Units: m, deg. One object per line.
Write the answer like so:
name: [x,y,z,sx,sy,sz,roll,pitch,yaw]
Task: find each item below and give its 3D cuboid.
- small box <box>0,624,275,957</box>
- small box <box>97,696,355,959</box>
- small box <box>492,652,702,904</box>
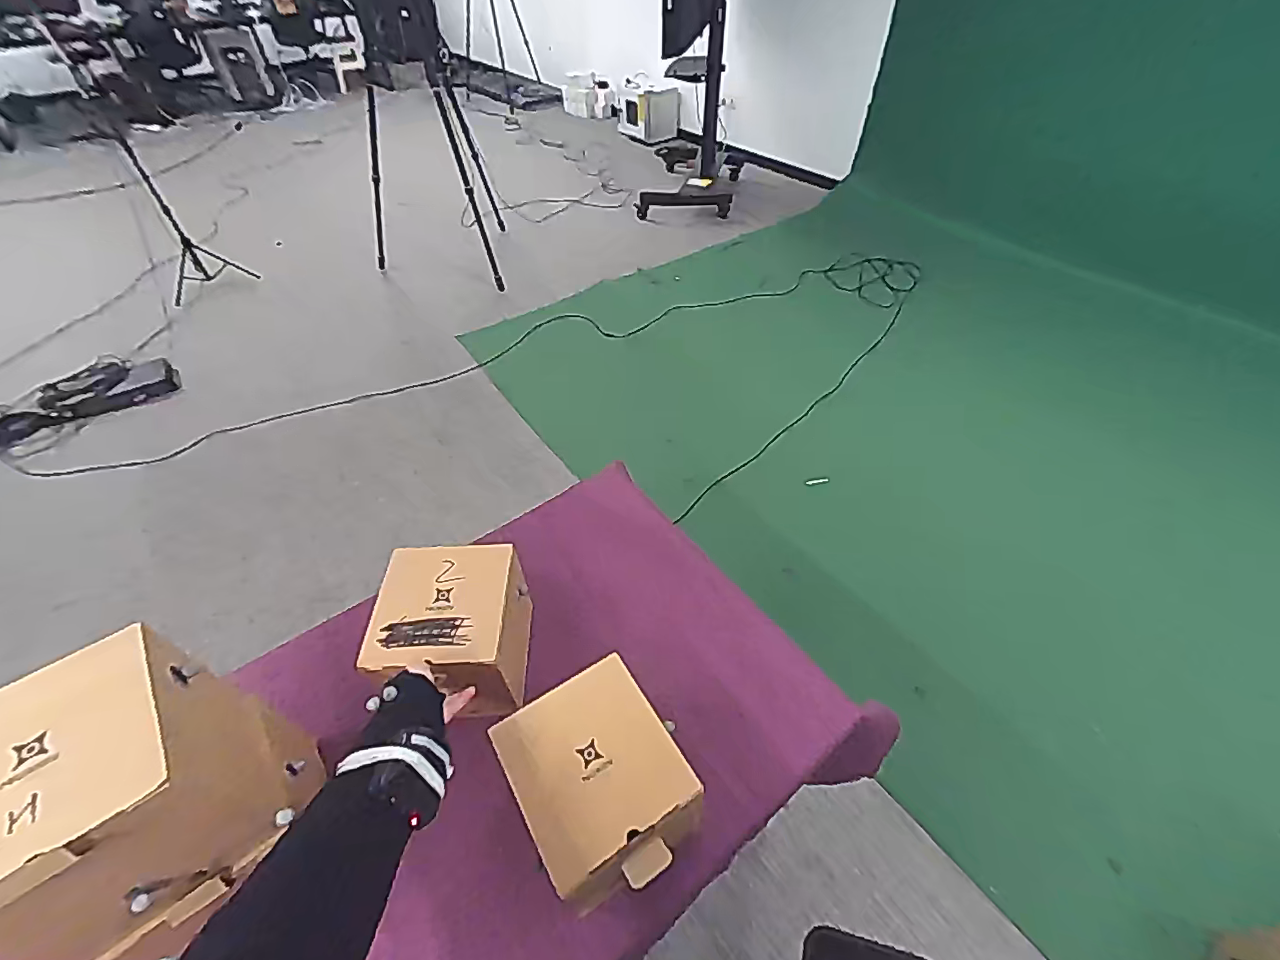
small box: [-0.465,0.271,0.477,0.168,0.176,0.179,-30,53,-24]
small box: [-0.448,0.383,0.596,0.168,0.176,0.179,-30,53,-25]
small box: [-0.049,0.342,0.623,0.168,0.176,0.179,-26,52,-21]
